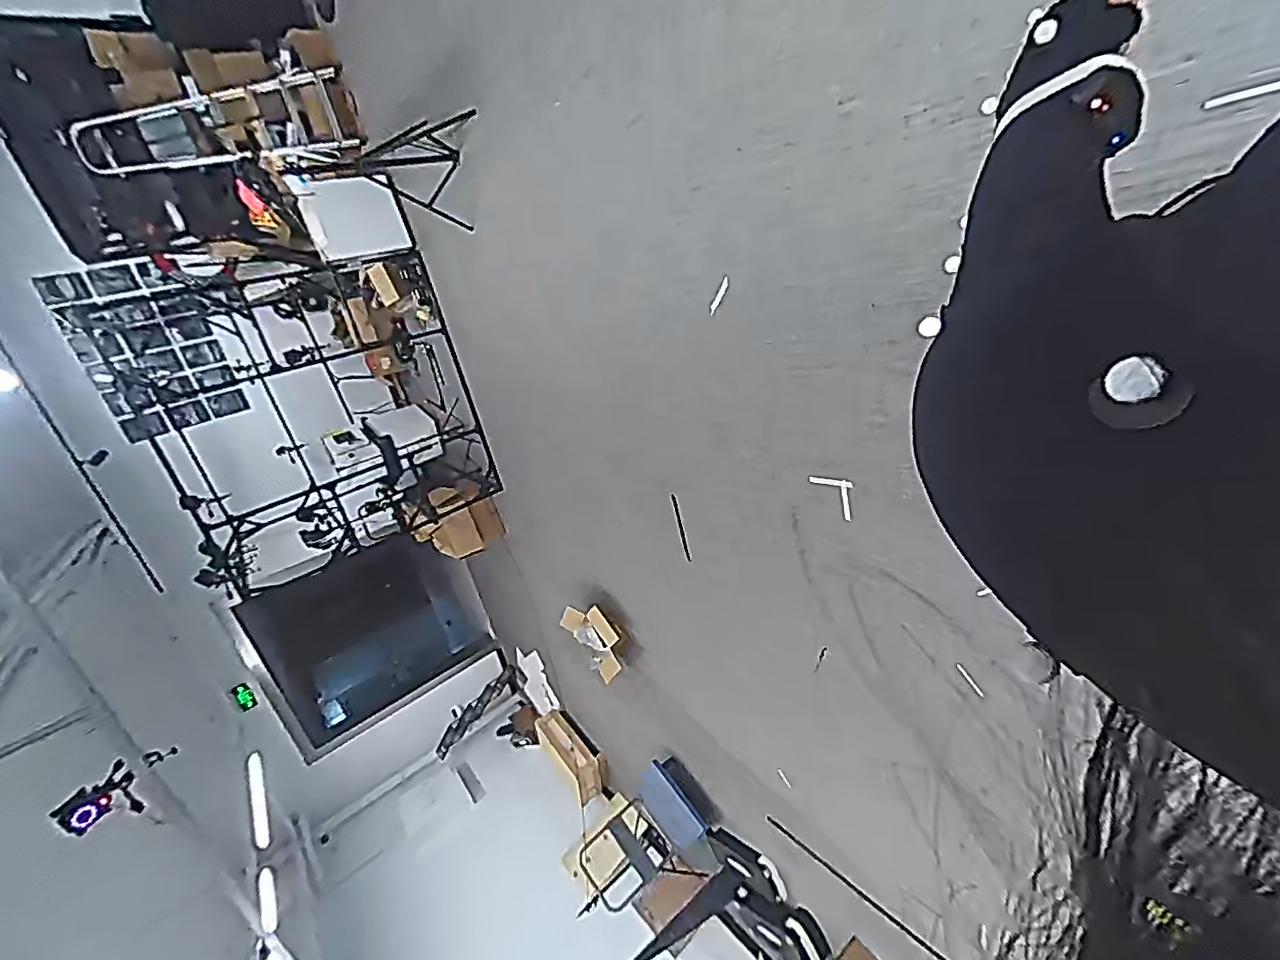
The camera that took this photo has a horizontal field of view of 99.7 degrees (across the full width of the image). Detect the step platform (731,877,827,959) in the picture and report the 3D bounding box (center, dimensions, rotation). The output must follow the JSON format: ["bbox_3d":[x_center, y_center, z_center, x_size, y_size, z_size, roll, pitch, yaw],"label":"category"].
[{"bbox_3d":[0.911,2.968,3.635,0.286,0.204,0.684,61,148,3],"label":"step platform"}]
